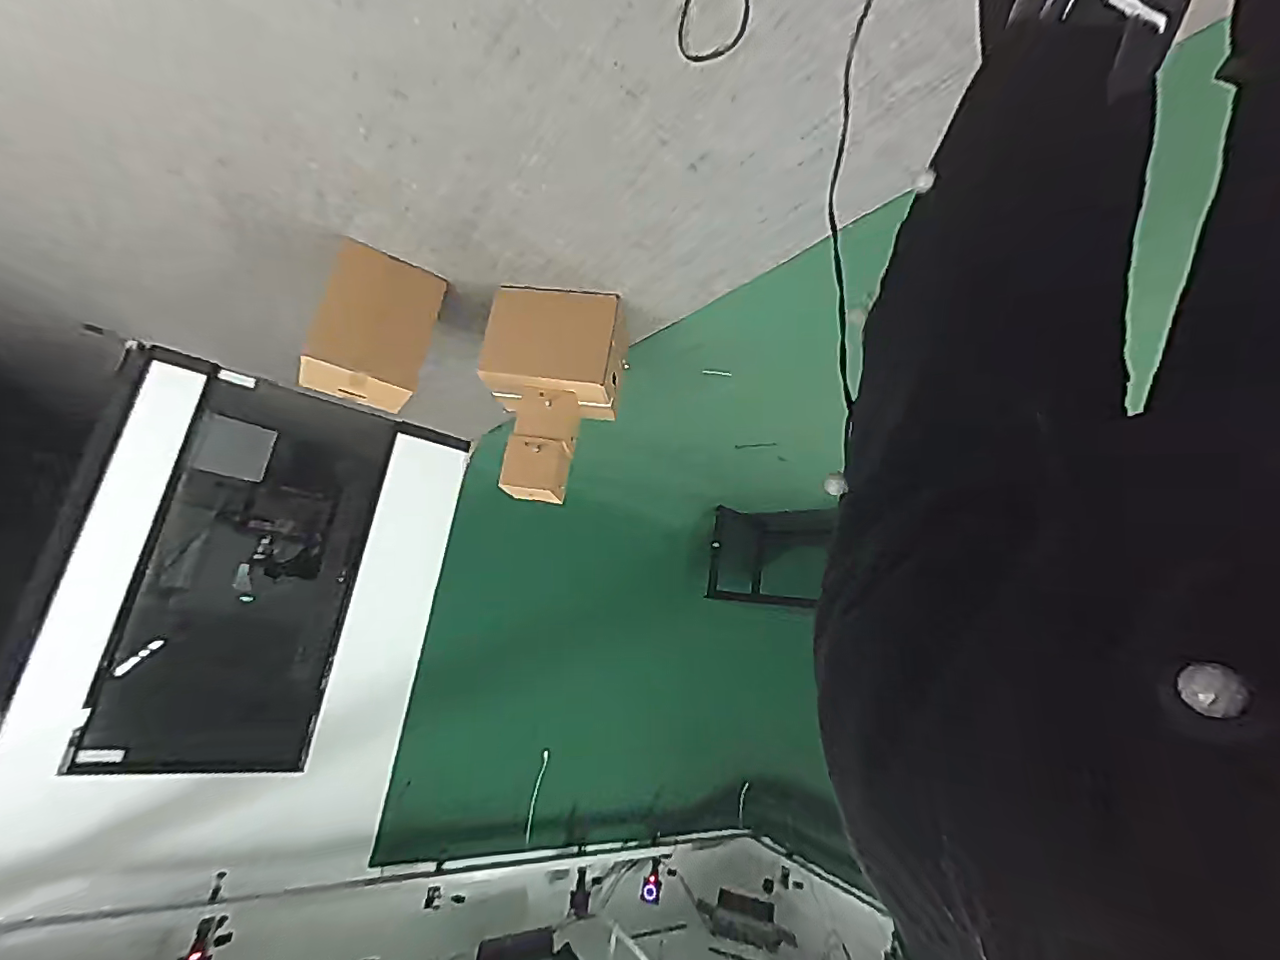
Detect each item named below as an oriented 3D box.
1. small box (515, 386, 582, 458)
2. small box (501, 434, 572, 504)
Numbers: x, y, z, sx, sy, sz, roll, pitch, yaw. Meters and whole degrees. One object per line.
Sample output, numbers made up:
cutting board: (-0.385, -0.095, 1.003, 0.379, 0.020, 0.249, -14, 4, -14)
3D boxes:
small box: (-0.289, -0.186, 1.751, 0.168, 0.176, 0.179, 8, 165, 4)
small box: (-0.319, -0.032, 1.706, 0.168, 0.176, 0.179, 7, 165, 6)
